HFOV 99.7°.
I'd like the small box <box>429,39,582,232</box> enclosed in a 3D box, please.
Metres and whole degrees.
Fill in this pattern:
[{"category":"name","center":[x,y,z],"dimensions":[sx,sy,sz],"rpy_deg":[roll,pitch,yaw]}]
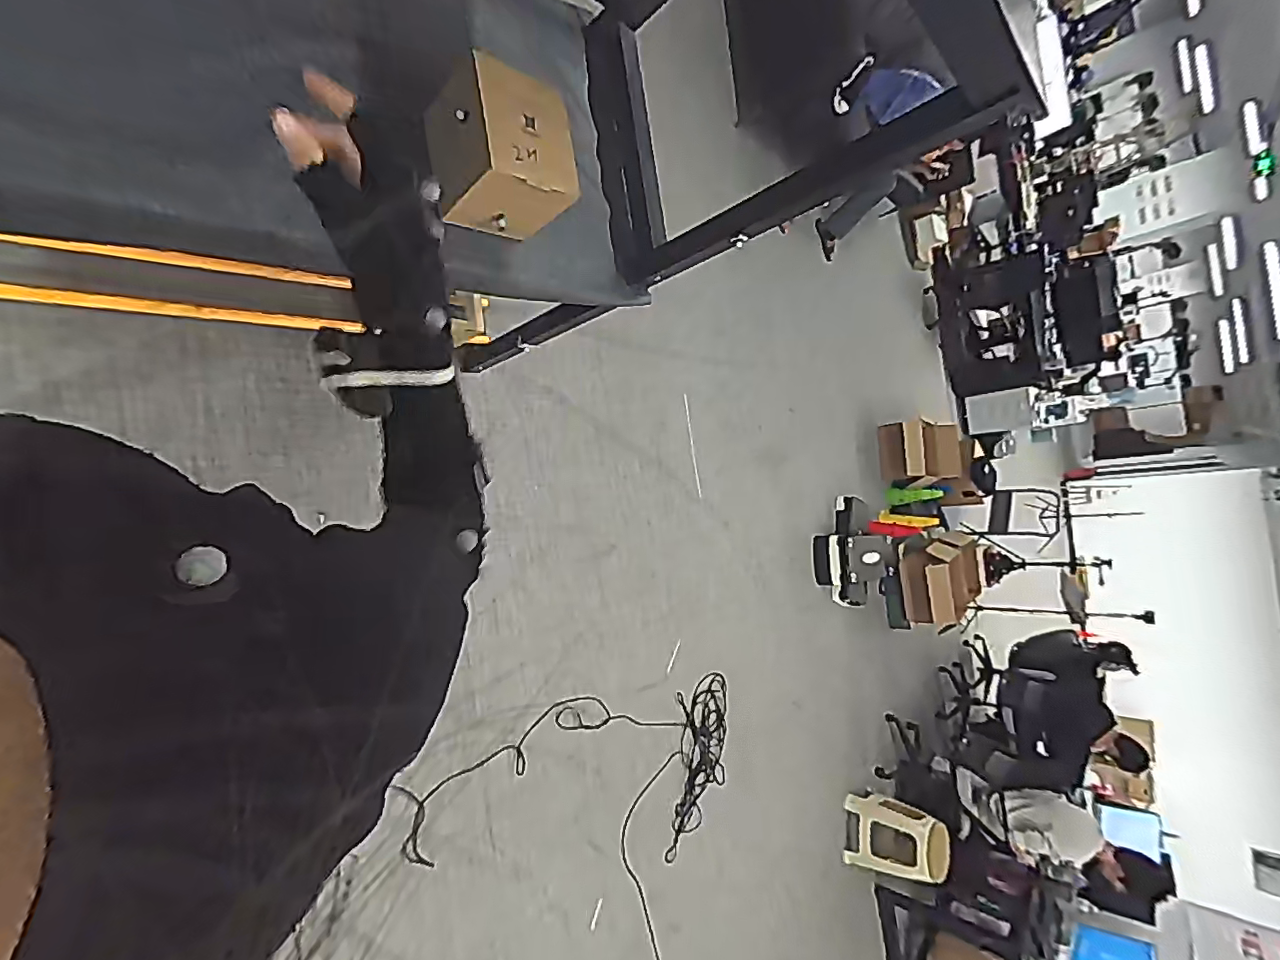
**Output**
[{"category":"small box","center":[-0.221,-0.536,0.872],"dimensions":[0.168,0.176,0.179],"rpy_deg":[-10,90,-45]}]
